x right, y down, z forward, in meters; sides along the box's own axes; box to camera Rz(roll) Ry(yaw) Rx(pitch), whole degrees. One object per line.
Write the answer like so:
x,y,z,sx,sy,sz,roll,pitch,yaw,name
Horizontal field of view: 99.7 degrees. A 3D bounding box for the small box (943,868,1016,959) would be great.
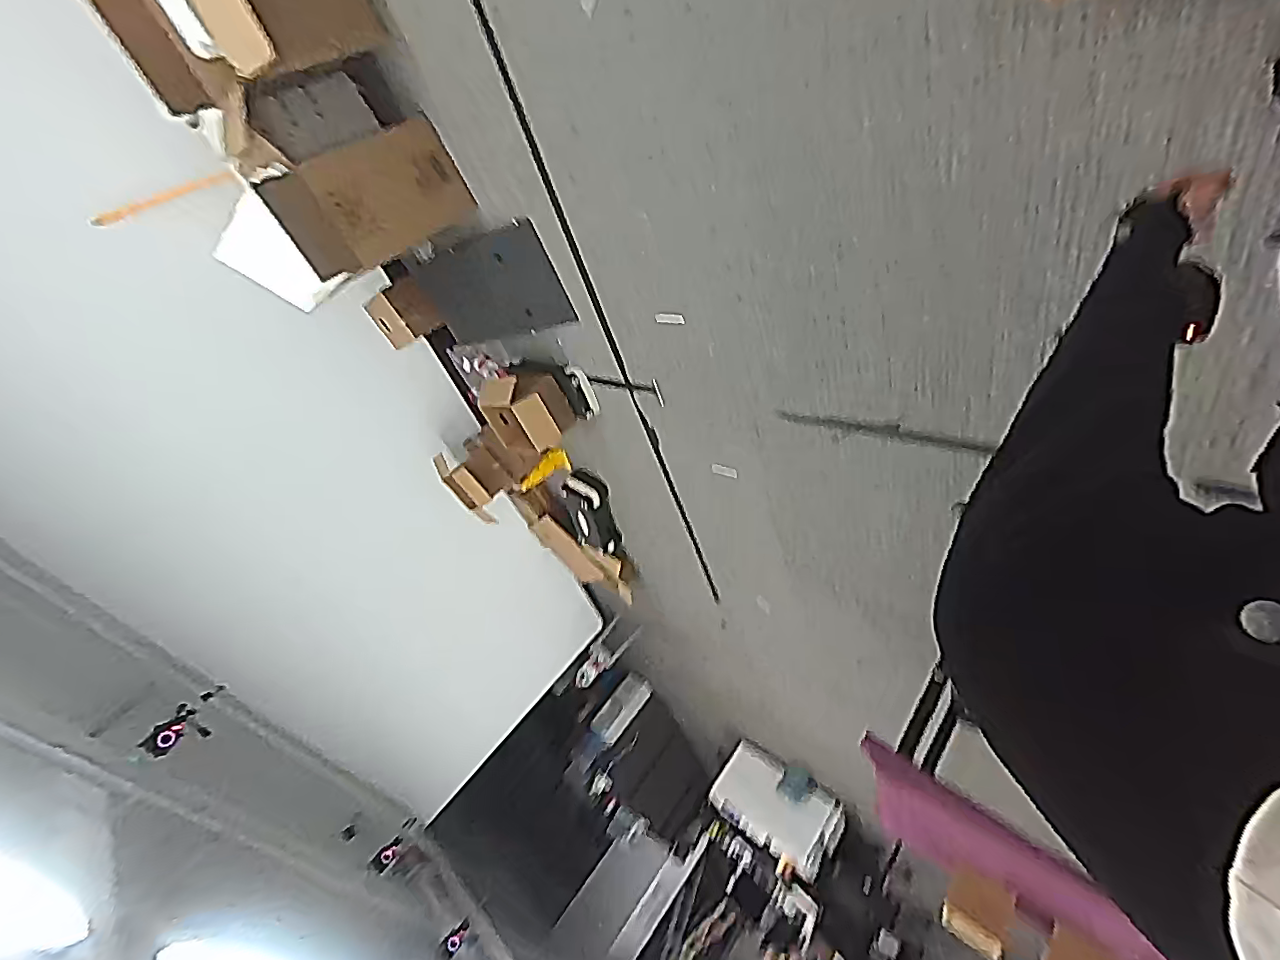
1.171,1.493,1.863,0.179,0.176,0.168,18,140,41,small box
